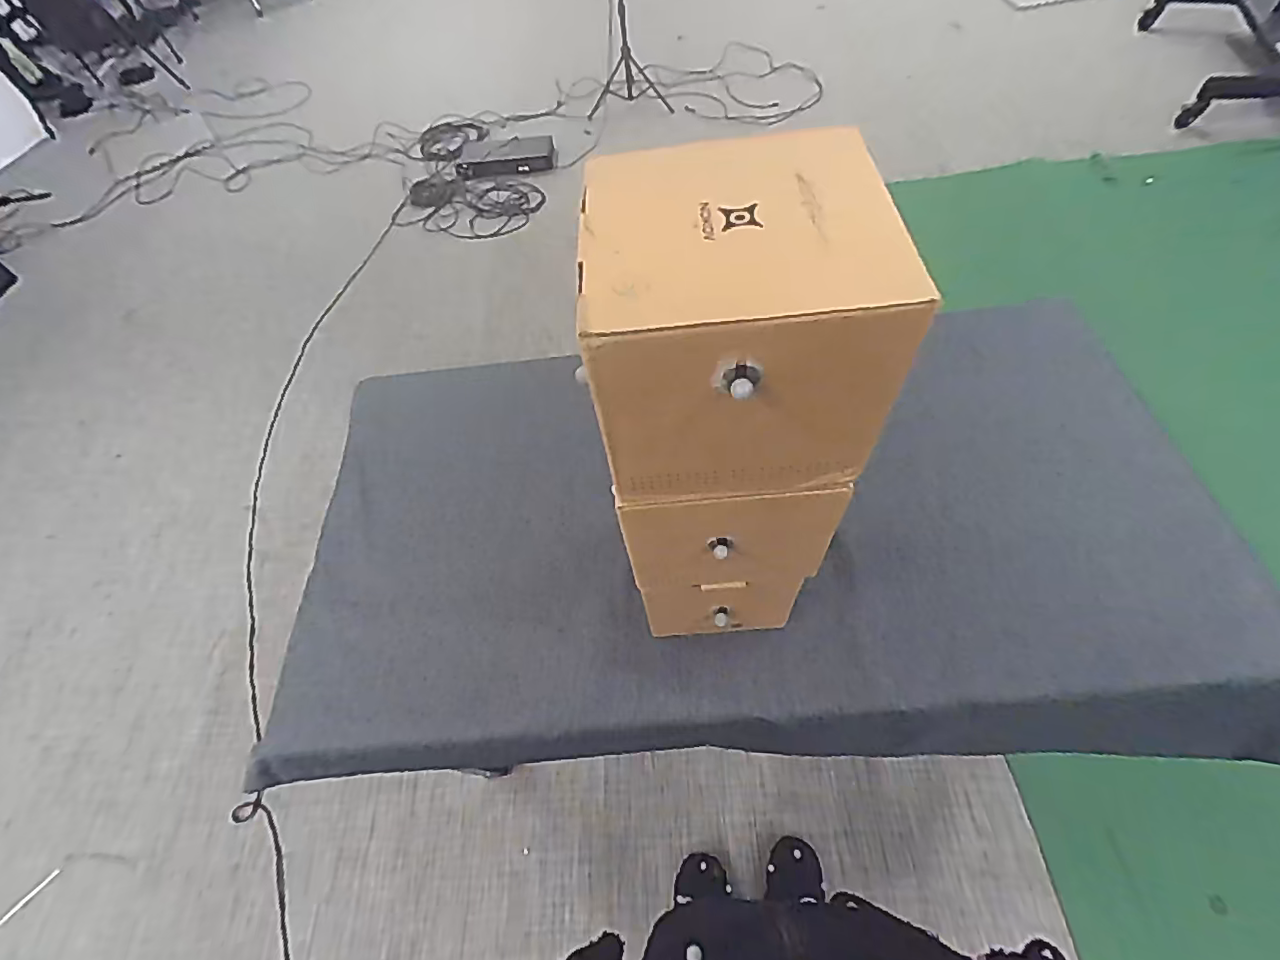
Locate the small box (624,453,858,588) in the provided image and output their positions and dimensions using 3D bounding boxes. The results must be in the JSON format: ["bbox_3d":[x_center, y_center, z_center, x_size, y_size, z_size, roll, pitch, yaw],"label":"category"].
[{"bbox_3d":[0.074,-0.011,0.506,0.179,0.176,0.168,-7,58,1],"label":"small box"}]

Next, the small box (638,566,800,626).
[{"bbox_3d":[0.085,0.069,0.650,0.168,0.176,0.179,-6,58,4],"label":"small box"}]

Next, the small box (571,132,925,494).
[{"bbox_3d":[0.057,-0.101,0.372,0.179,0.176,0.168,-5,59,3],"label":"small box"}]
